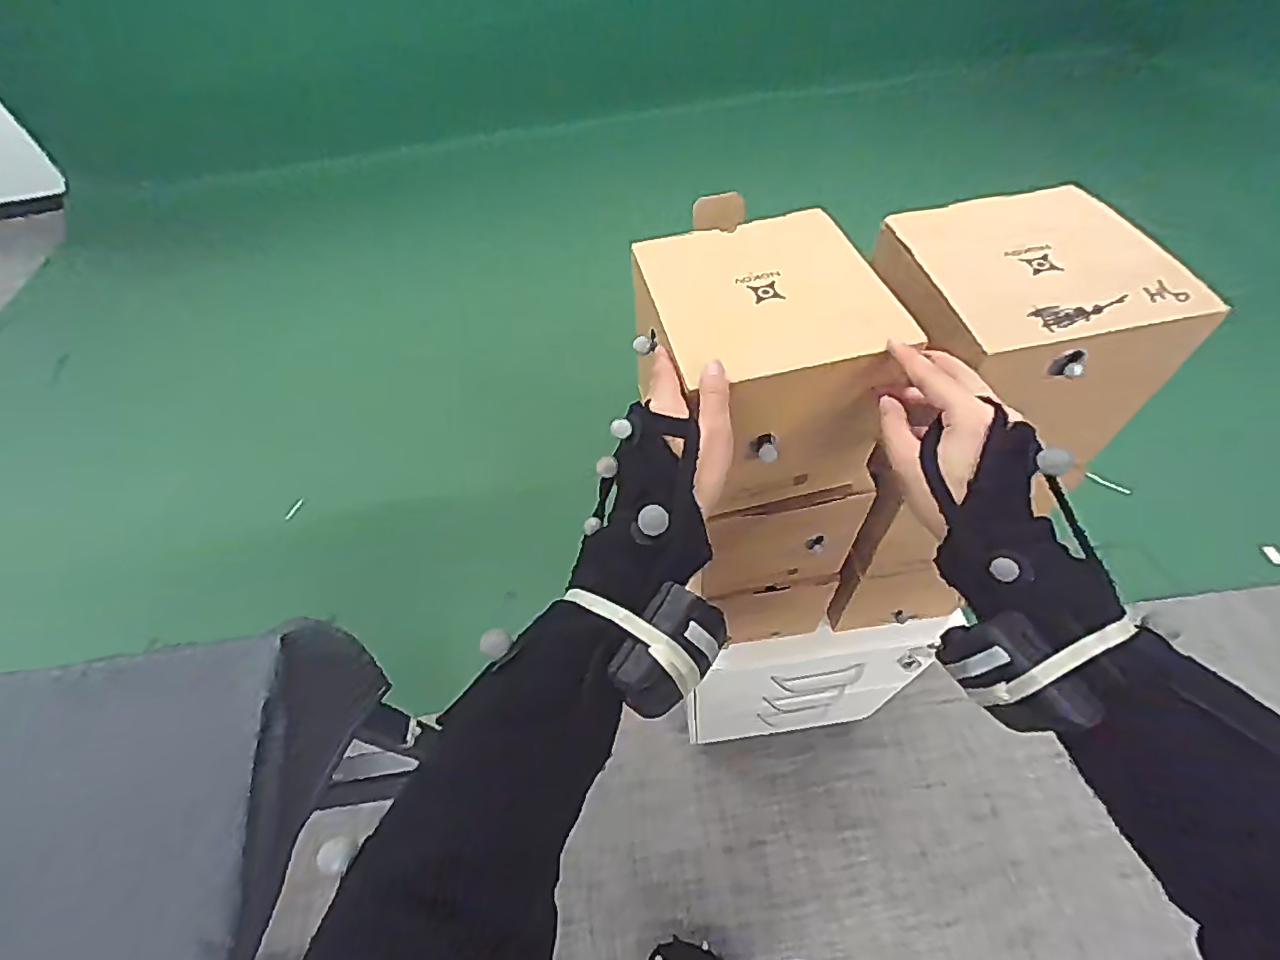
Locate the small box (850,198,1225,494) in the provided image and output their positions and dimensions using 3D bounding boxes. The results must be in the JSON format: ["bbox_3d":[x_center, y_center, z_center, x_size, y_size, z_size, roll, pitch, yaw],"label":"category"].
[{"bbox_3d":[0.304,-0.112,0.471,0.168,0.176,0.179,-9,53,0],"label":"small box"}]

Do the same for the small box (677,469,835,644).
[{"bbox_3d":[0.144,0.111,0.734,0.168,0.176,0.179,-7,53,-1],"label":"small box"}]
